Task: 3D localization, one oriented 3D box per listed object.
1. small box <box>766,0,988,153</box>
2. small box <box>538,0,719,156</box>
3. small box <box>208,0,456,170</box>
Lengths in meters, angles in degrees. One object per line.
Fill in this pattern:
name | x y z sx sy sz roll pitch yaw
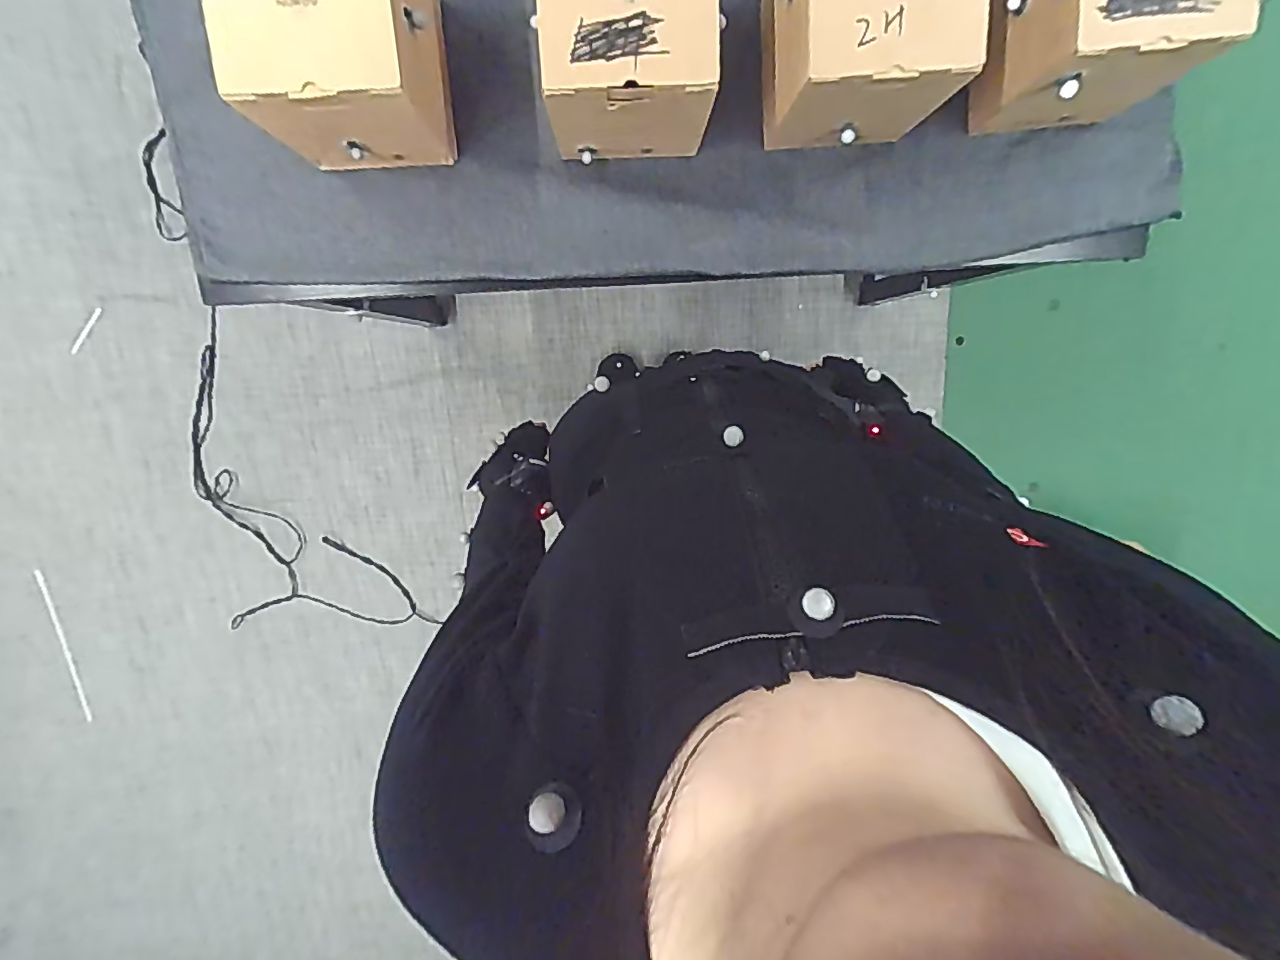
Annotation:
small box | 0.230 -0.472 0.562 0.168 0.176 0.179 -4 102 1
small box | -0.012 -0.456 0.559 0.168 0.176 0.179 -2 101 -2
small box | -0.300 -0.445 0.552 0.168 0.176 0.179 -4 101 -2
